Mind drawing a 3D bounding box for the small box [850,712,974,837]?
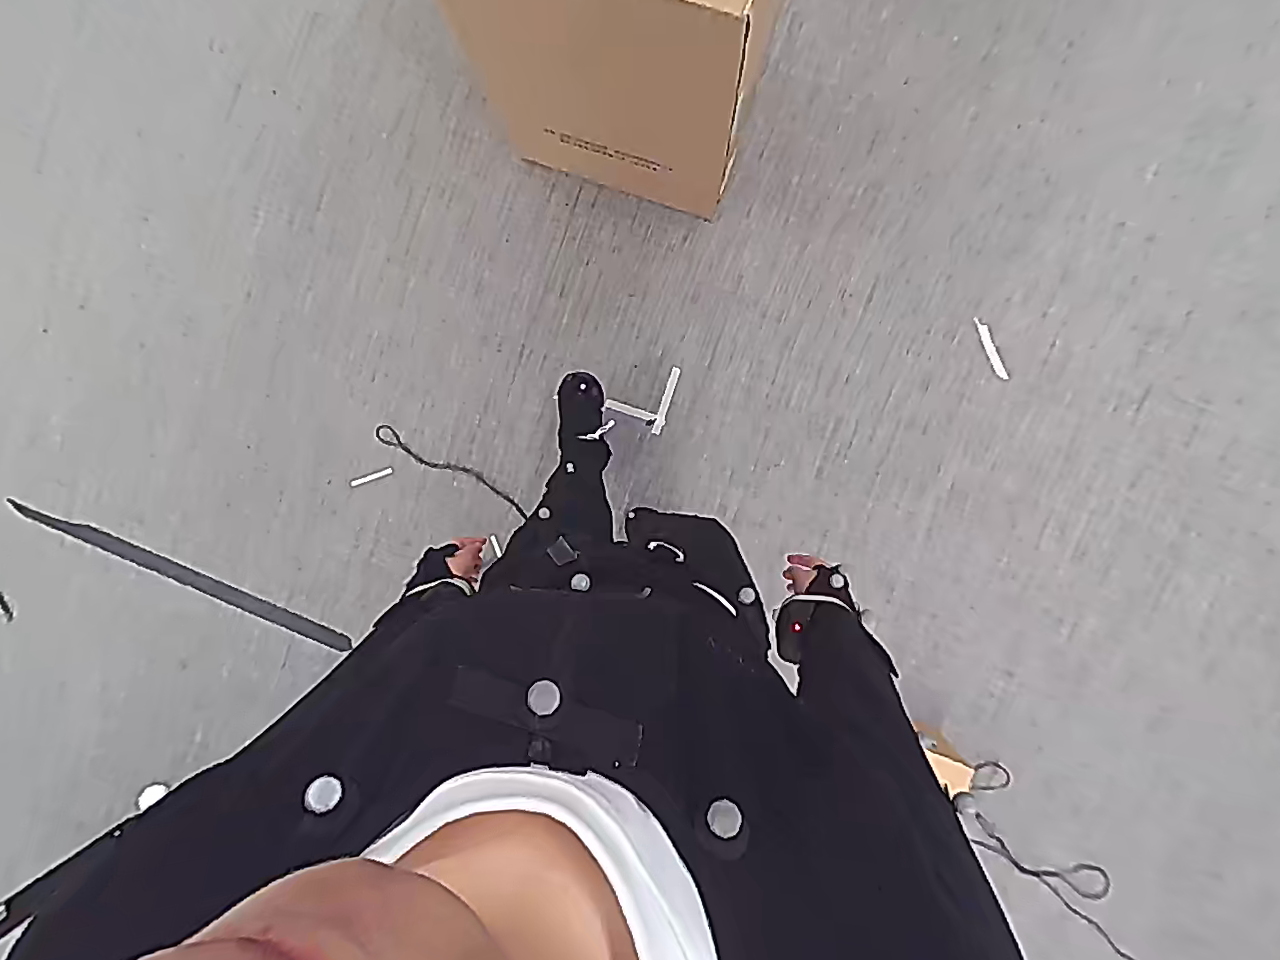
[{"bbox_3d":[0.622,0.674,1.259,0.179,0.176,0.168,21,93,4],"label":"small box"}]
